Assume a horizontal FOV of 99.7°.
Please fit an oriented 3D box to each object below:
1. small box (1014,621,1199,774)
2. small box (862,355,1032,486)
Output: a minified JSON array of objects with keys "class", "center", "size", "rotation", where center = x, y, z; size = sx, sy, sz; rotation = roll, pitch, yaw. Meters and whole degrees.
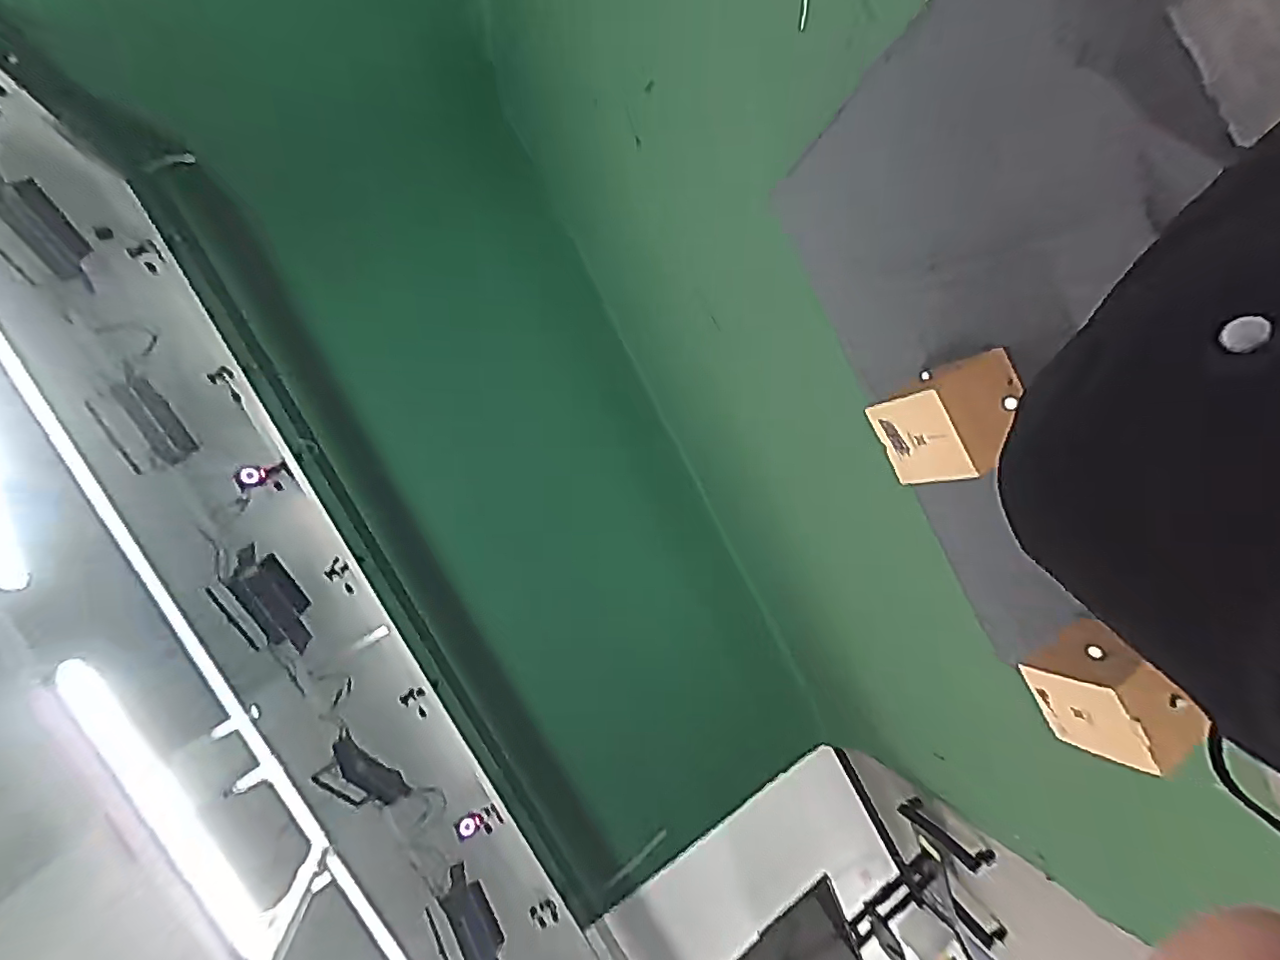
[{"class":"small box","center":[0.834,0.372,0.965],"size":[0.168,0.176,0.179],"rotation":[61,164,-2]},{"class":"small box","center":[0.553,-0.103,0.985],"size":[0.168,0.176,0.179],"rotation":[61,163,-4]}]
